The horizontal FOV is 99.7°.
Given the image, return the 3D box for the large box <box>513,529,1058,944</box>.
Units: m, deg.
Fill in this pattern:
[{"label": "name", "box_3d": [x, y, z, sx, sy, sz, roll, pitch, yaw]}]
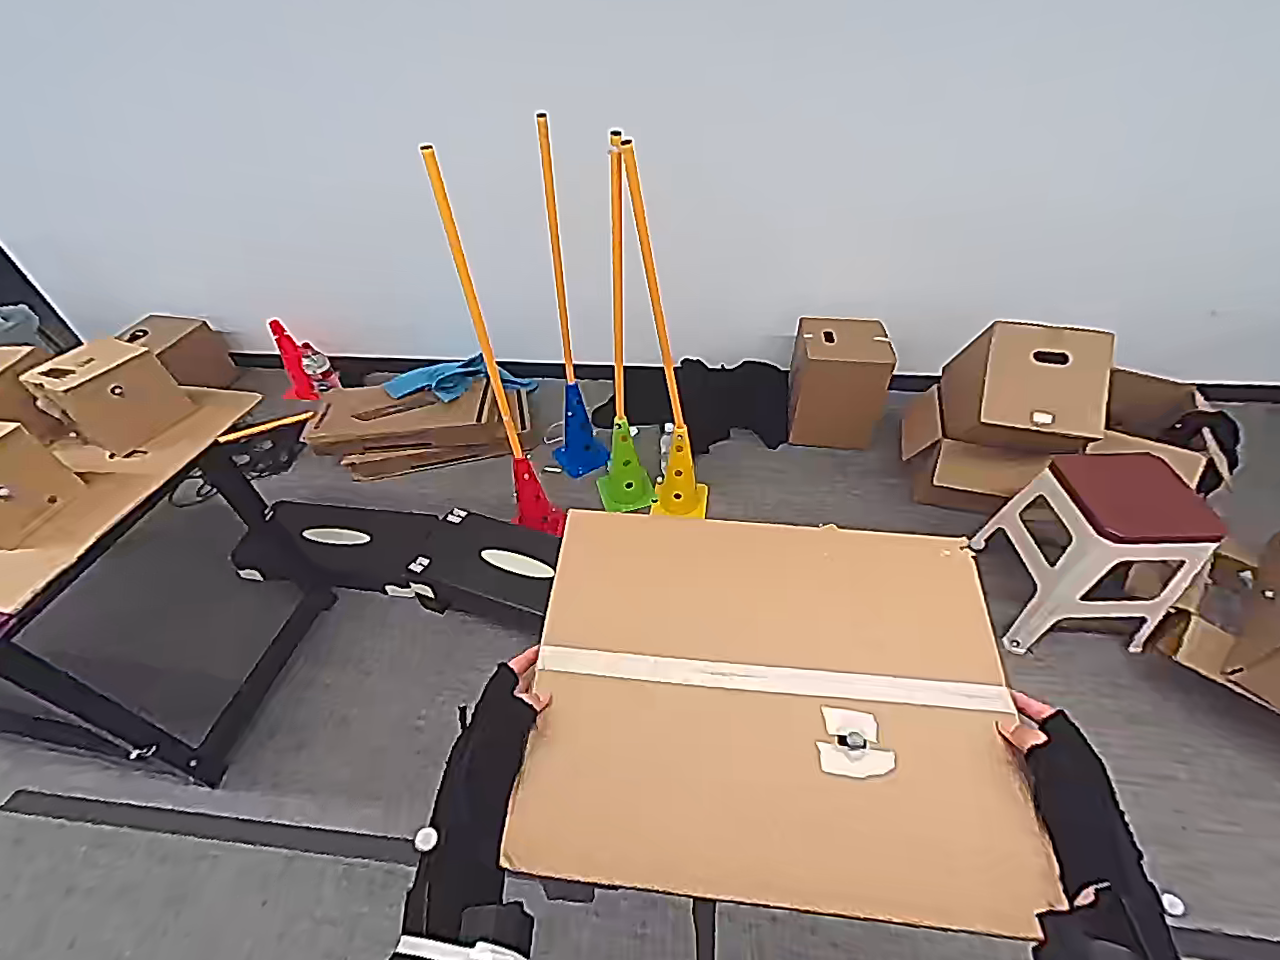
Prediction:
[{"label": "large box", "box_3d": [0.114, 0.273, 0.598, 0.408, 0.320, 0.320, 4, 56, 4]}]
